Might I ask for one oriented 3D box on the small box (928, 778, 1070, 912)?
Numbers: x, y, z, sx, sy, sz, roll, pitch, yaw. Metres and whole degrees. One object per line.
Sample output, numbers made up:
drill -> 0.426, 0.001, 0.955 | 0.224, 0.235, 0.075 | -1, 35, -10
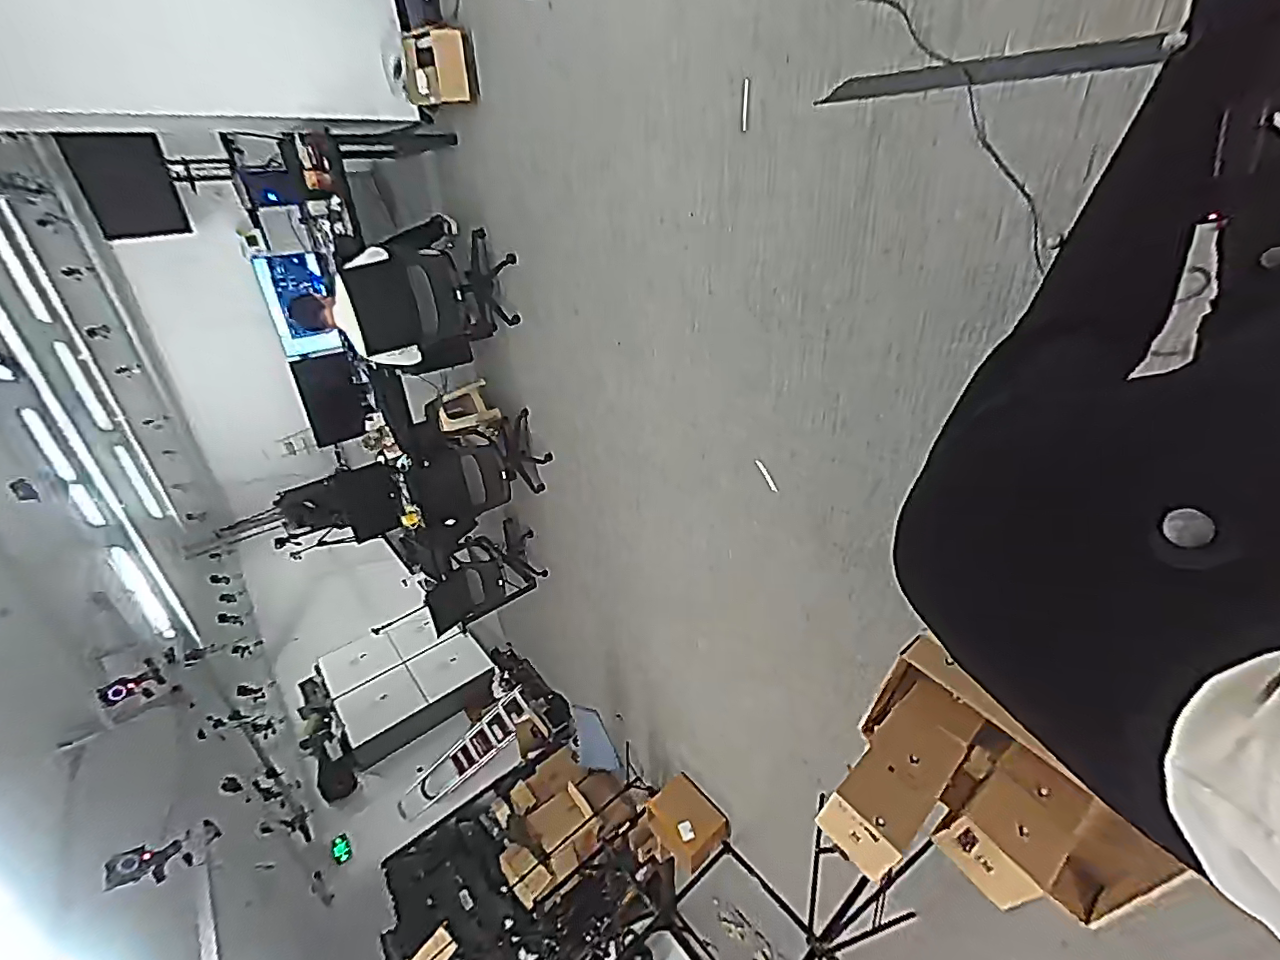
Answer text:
small box -> 0.794, 0.800, 1.202 | 0.179, 0.176, 0.168 | 43, 142, 32

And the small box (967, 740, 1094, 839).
small box -> 0.924, 0.757, 1.294 | 0.179, 0.176, 0.168 | 40, 140, 37

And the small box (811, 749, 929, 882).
small box -> 0.531, 0.768, 1.248 | 0.168, 0.176, 0.179 | 38, 140, 33
